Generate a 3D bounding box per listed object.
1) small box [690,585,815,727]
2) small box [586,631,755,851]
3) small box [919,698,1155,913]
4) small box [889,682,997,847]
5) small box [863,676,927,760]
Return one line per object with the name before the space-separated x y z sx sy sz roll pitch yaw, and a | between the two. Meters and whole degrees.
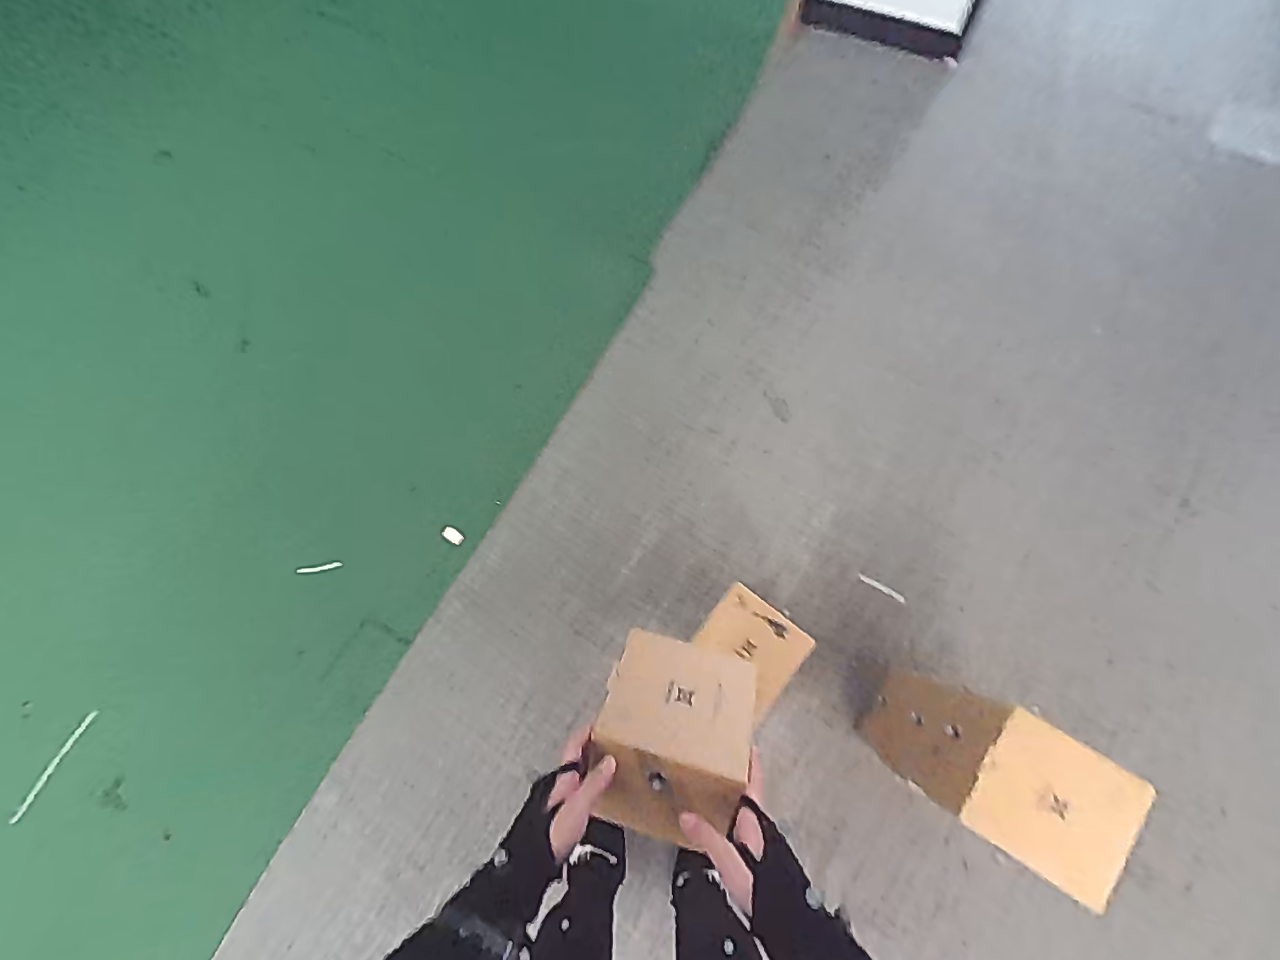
small box | 0.195 0.317 0.997 0.168 0.176 0.179 37 83 16
small box | 0.038 0.327 0.684 0.179 0.168 0.176 13 122 9
small box | 0.527 0.424 0.746 0.179 0.176 0.168 31 81 16
small box | 0.542 0.463 0.903 0.168 0.176 0.179 31 81 15
small box | 0.566 0.502 1.060 0.179 0.176 0.168 30 81 15
